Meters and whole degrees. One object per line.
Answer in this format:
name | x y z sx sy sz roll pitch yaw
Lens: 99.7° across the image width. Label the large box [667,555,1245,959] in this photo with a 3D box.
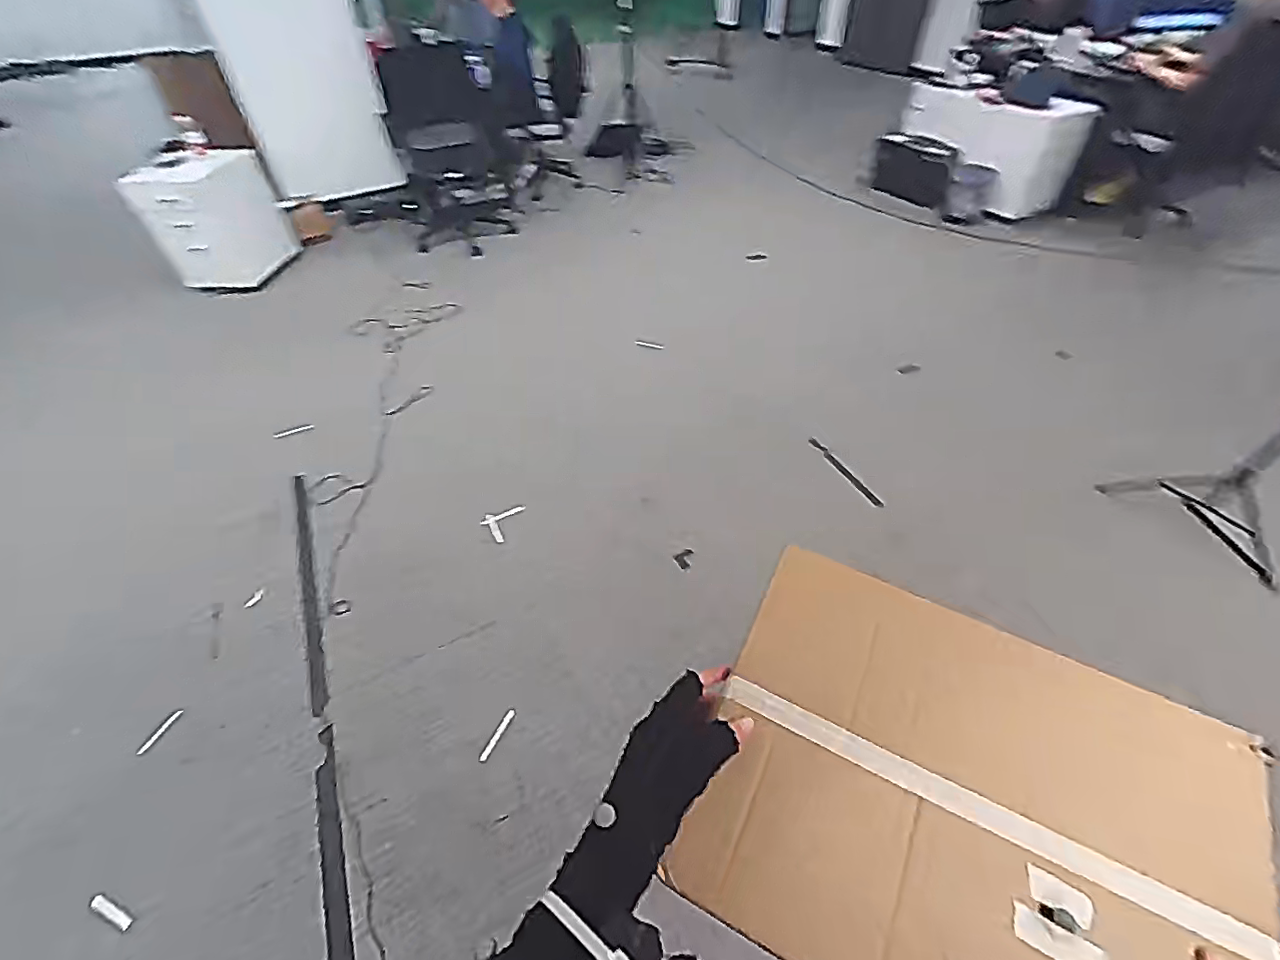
large box | 0.268 0.339 0.576 0.408 0.320 0.320 22 63 16
